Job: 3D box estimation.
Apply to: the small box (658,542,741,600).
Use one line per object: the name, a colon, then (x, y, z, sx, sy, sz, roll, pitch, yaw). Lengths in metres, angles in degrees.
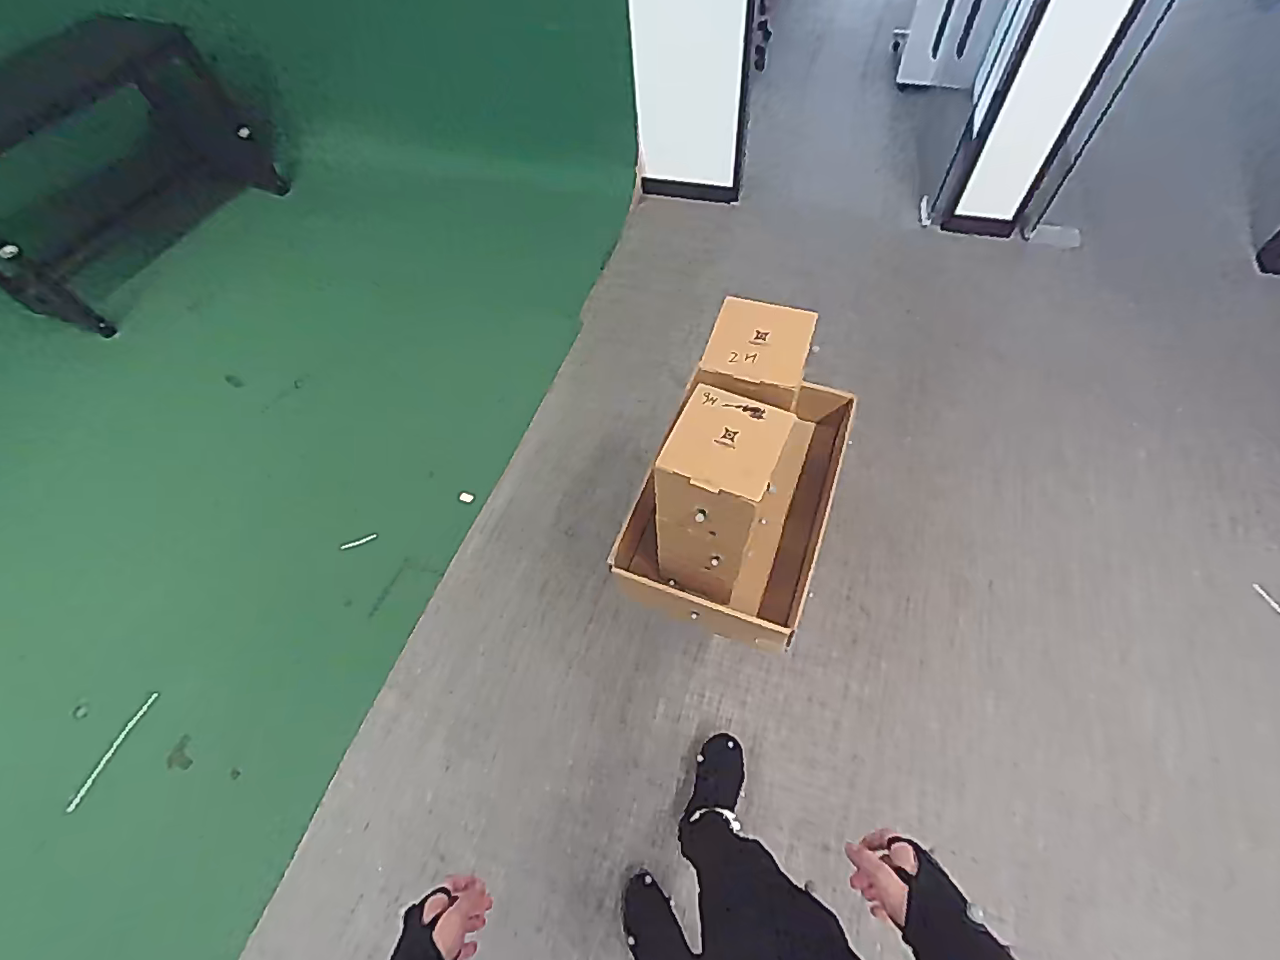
small box: (0.149, 0.138, 1.173, 0.168, 0.176, 0.179, 18, 61, 14)

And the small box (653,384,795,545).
small box: (0.135, -0.019, 0.886, 0.168, 0.176, 0.179, 22, 64, 15)

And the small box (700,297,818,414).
small box: (0.210, -0.199, 0.991, 0.168, 0.176, 0.179, 16, 64, 14)

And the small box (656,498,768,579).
small box: (0.142, 0.064, 1.027, 0.168, 0.176, 0.179, 21, 62, 15)
